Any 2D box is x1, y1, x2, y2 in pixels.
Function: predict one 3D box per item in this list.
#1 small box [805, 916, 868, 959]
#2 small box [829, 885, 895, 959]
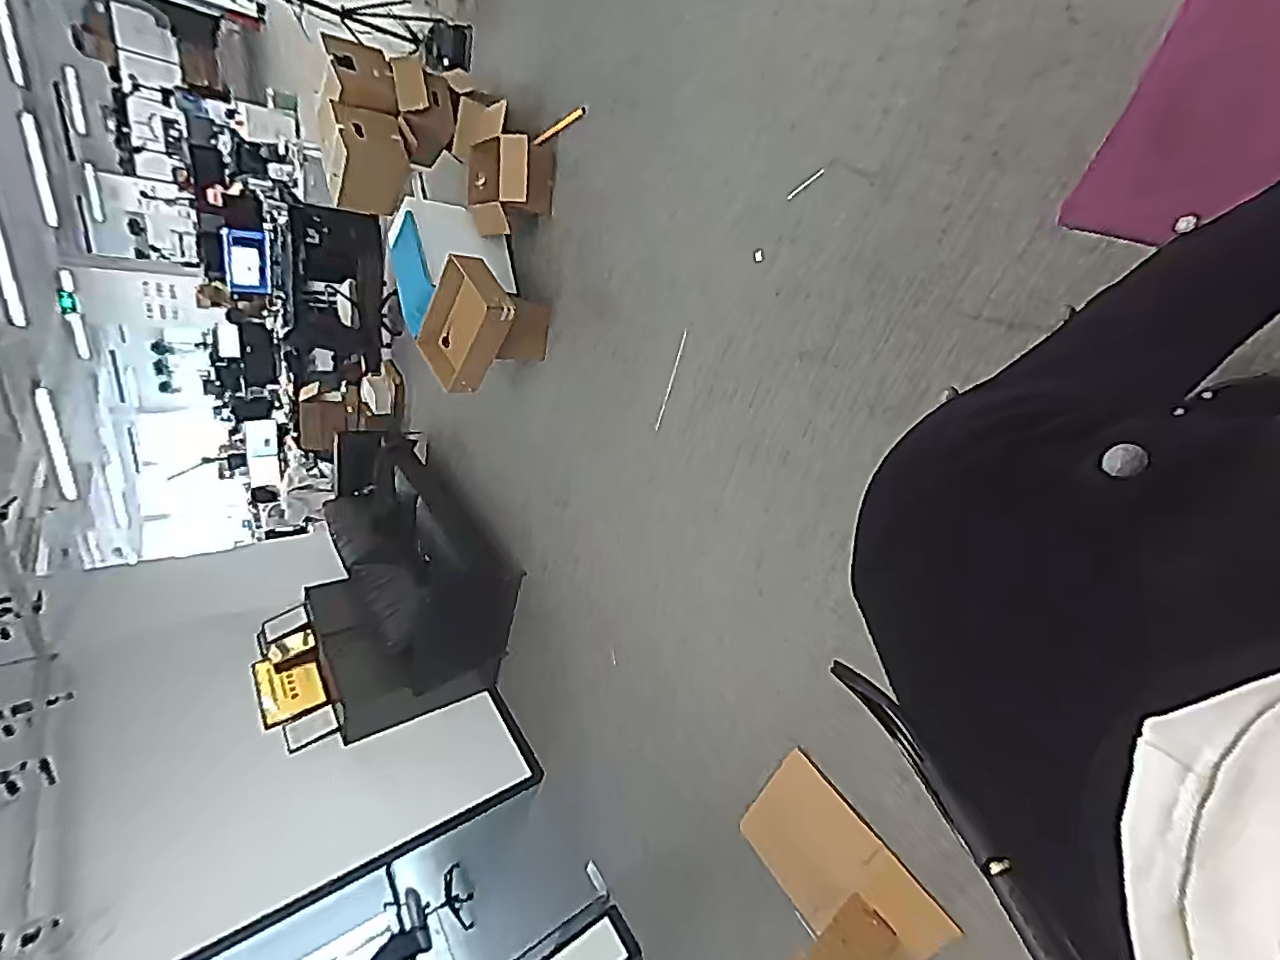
[{"bbox_3d":[0.630,1.599,1.781,0.168,0.176,0.179,39,127,39],"label":"small box"},{"bbox_3d":[0.756,1.578,1.883,0.168,0.176,0.179,36,123,41],"label":"small box"}]
